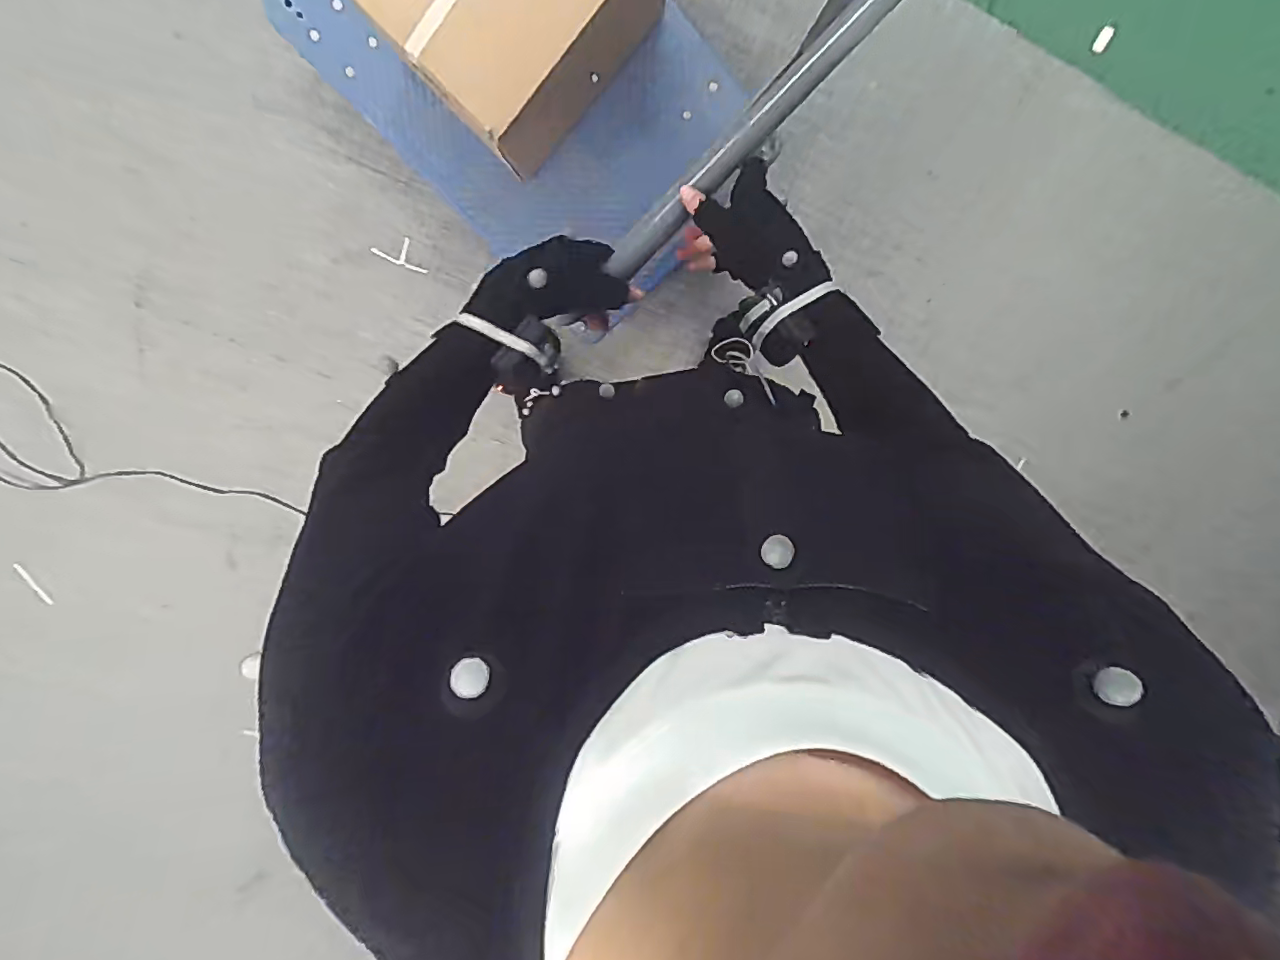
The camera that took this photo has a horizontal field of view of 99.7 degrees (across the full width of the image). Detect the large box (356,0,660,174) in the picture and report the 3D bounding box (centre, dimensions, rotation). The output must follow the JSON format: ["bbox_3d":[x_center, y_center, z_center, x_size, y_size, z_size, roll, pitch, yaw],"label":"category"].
[{"bbox_3d":[-0.193,-0.812,0.898,0.320,0.320,0.408,41,104,-14],"label":"large box"}]
